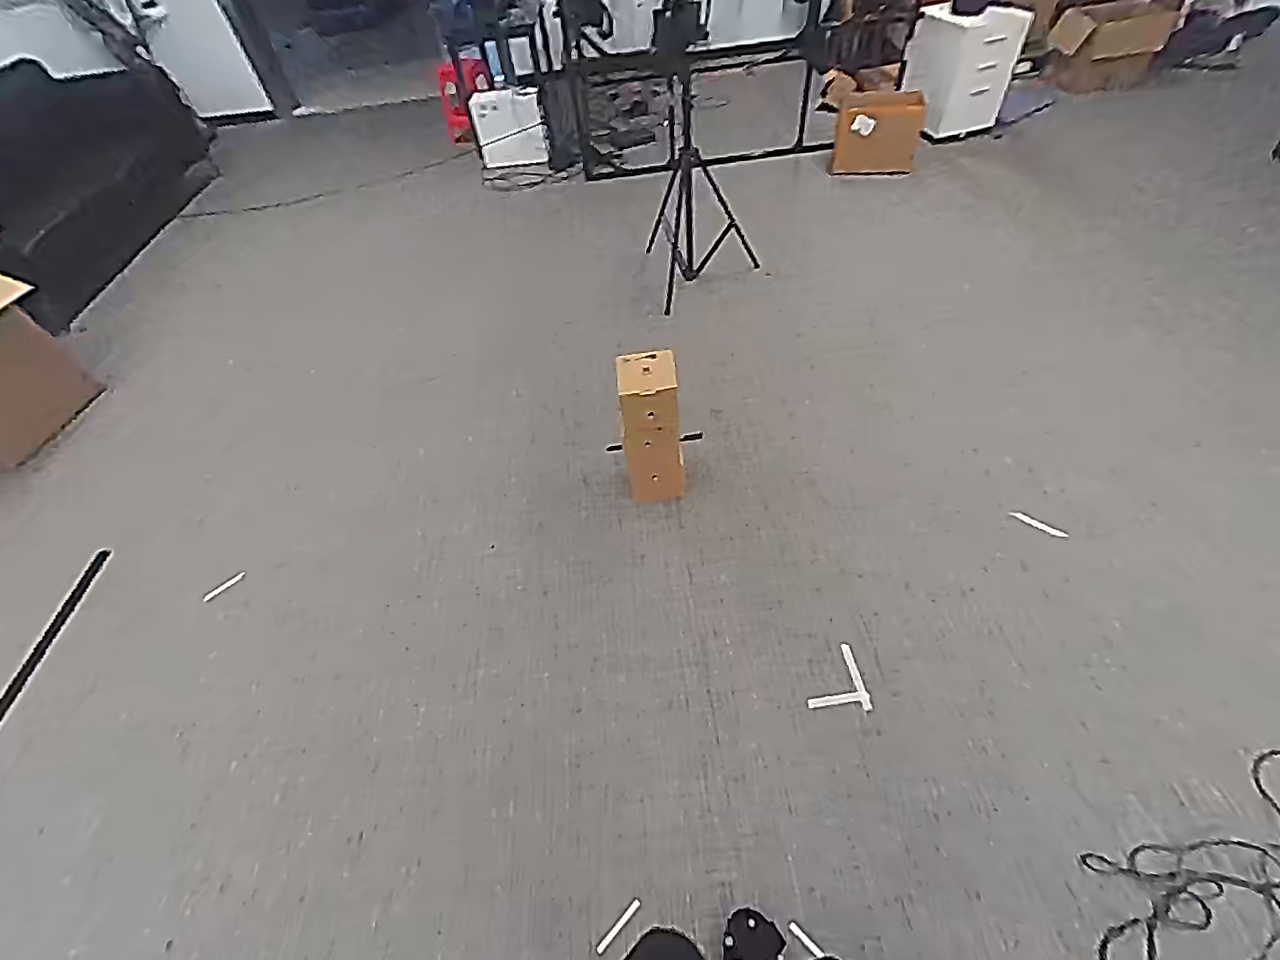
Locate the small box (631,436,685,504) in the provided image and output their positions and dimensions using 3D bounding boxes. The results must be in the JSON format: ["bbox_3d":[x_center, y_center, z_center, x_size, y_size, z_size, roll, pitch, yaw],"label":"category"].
[{"bbox_3d":[0.059,-0.036,1.839,0.179,0.176,0.168,-7,50,1],"label":"small box"}]

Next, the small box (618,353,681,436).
[{"bbox_3d":[0.028,-0.244,1.587,0.168,0.176,0.179,-6,51,3],"label":"small box"}]

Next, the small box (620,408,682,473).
[{"bbox_3d":[0.036,-0.137,1.710,0.179,0.176,0.168,-5,51,3],"label":"small box"}]
